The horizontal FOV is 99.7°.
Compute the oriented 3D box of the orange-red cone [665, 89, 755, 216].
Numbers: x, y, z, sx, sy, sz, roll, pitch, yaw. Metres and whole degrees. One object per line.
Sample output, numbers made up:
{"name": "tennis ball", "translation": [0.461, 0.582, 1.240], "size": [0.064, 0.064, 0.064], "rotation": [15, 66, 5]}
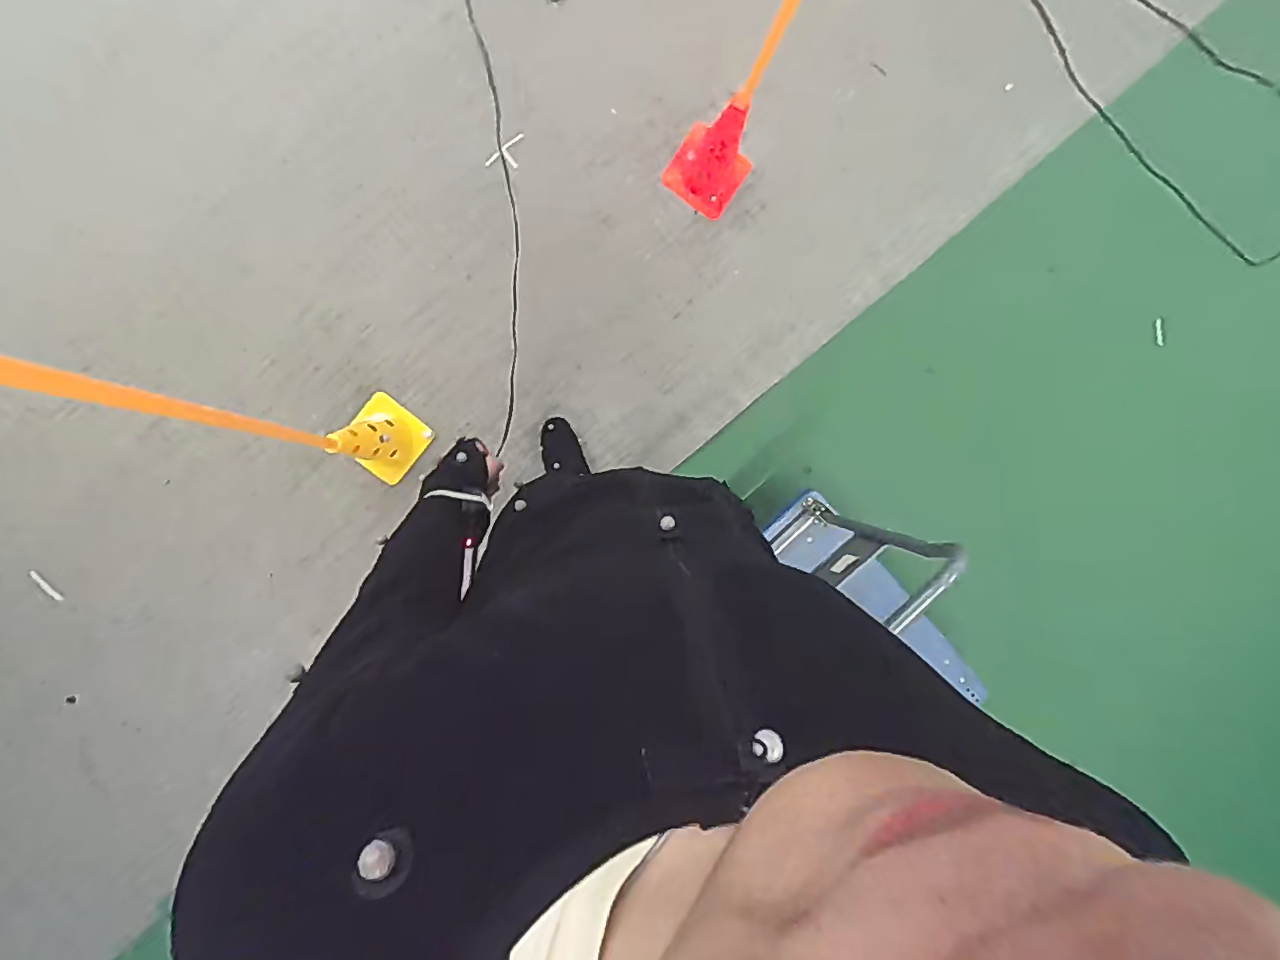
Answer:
{"name": "orange-red cone", "translation": [0.216, -0.864, 1.364], "size": [0.198, 0.360, 0.199], "rotation": [35, 91, -9]}
